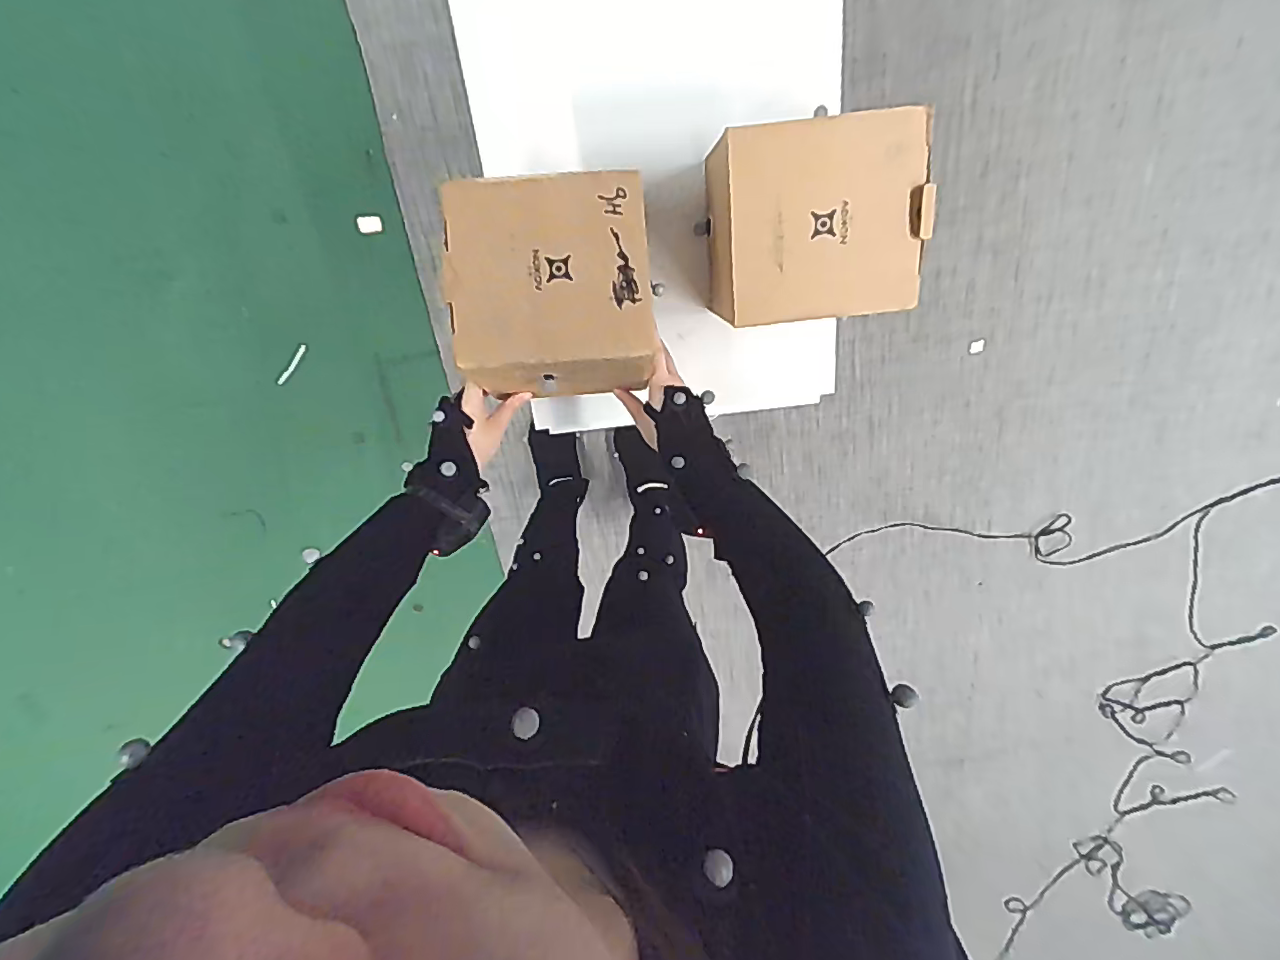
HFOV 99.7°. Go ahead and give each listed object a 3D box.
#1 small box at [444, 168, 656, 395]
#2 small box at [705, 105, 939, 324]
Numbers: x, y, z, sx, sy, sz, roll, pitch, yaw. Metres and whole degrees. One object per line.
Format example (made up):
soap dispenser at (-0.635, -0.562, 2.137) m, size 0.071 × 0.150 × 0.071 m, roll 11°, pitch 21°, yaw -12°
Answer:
small box at (-0.078, -0.182, 0.546) m, size 0.179 × 0.176 × 0.168 m, roll -5°, pitch 91°, yaw -1°
small box at (0.166, -0.261, 0.551) m, size 0.179 × 0.176 × 0.168 m, roll -5°, pitch 113°, yaw 2°
